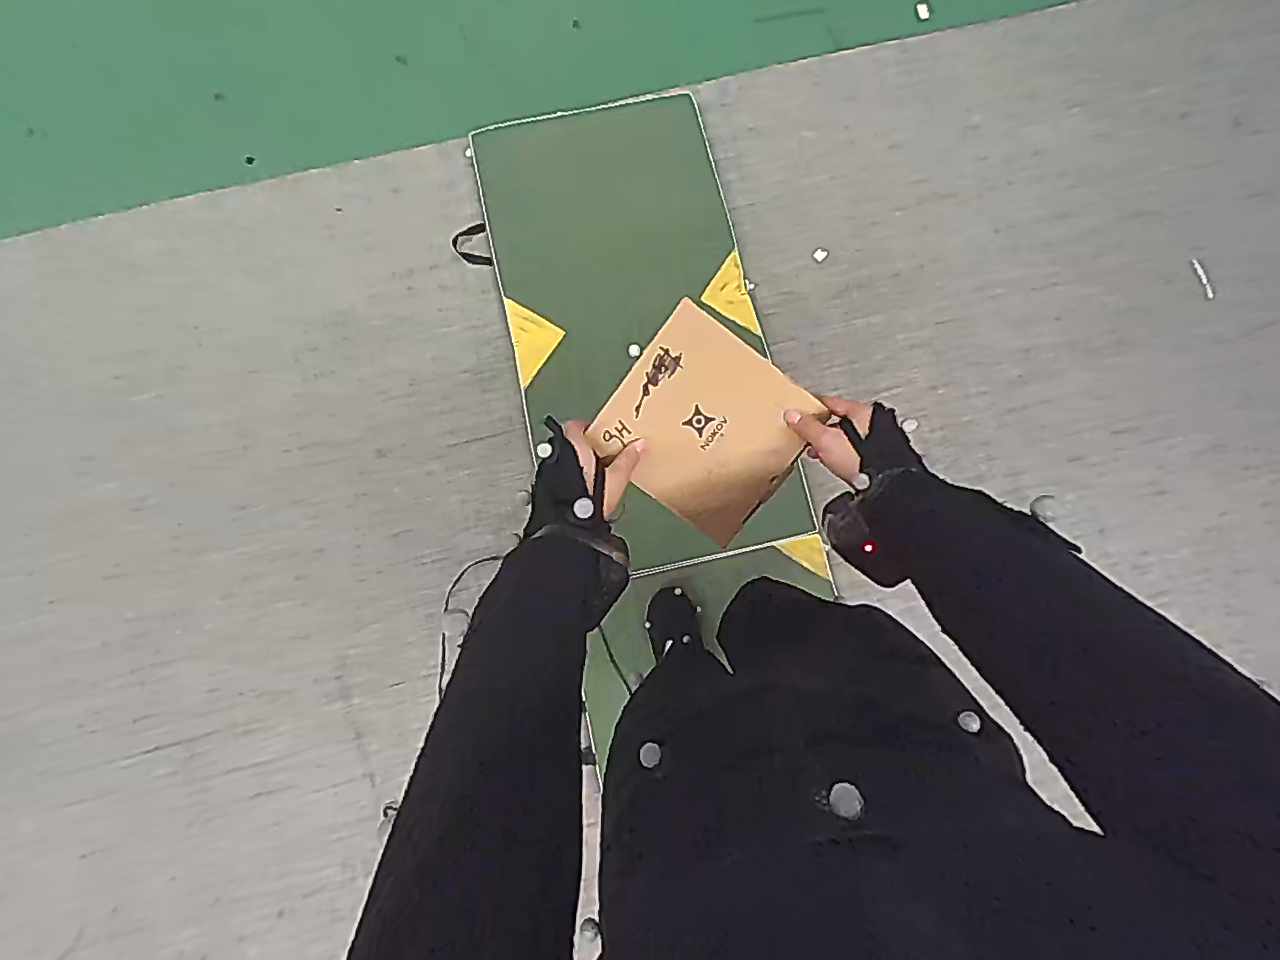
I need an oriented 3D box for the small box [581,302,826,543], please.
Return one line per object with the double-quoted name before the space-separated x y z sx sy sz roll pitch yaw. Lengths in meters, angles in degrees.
"small box" 0.061 -0.064 0.589 0.179 0.176 0.168 37 97 -4
